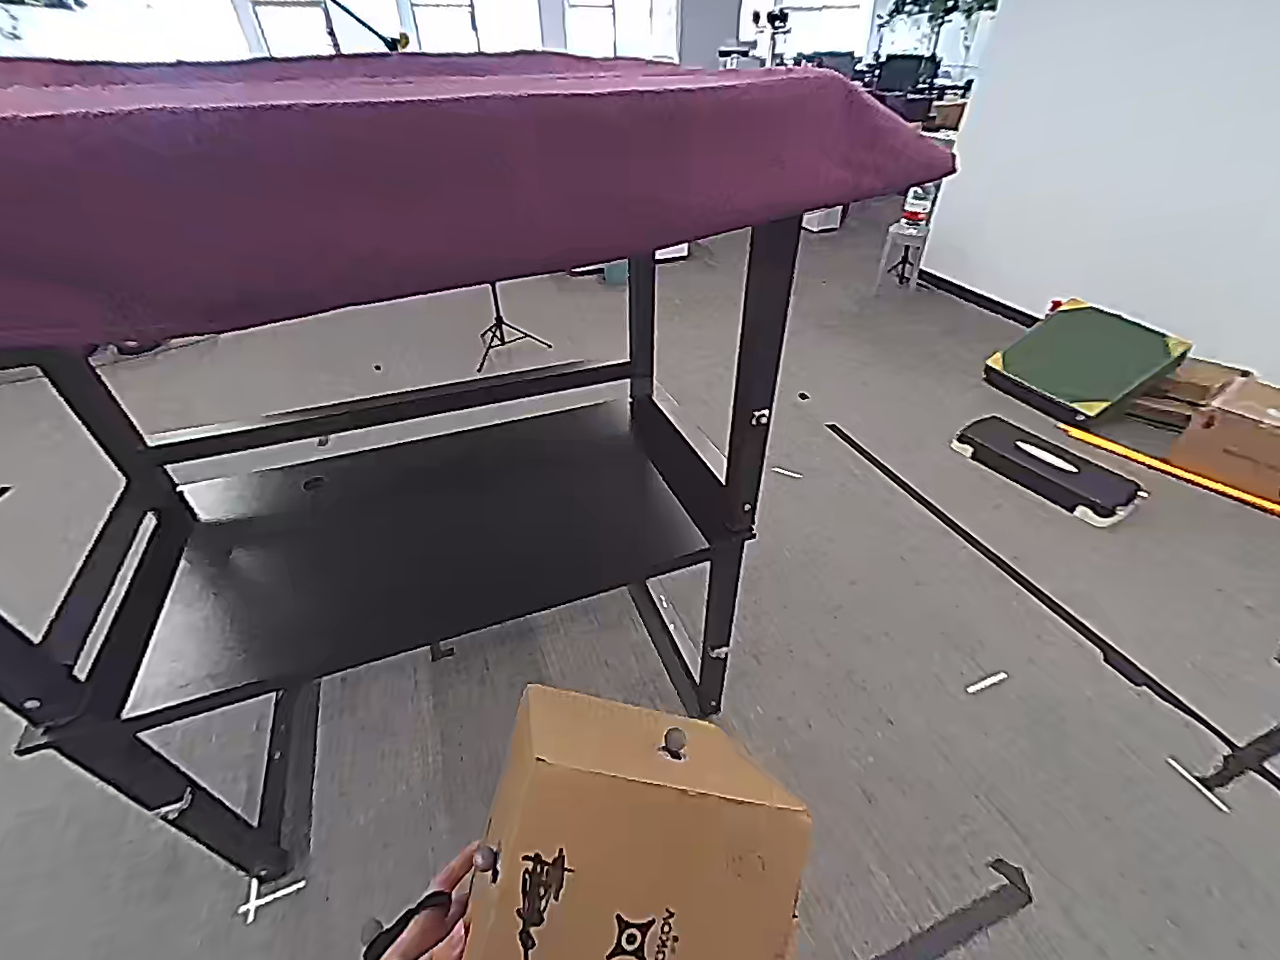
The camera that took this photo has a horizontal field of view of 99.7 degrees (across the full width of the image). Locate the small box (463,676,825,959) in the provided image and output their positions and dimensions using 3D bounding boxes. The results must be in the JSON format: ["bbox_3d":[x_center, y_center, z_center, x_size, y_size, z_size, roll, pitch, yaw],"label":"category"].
[{"bbox_3d":[-0.009,0.247,0.368,0.179,0.176,0.168,17,79,-11],"label":"small box"}]
